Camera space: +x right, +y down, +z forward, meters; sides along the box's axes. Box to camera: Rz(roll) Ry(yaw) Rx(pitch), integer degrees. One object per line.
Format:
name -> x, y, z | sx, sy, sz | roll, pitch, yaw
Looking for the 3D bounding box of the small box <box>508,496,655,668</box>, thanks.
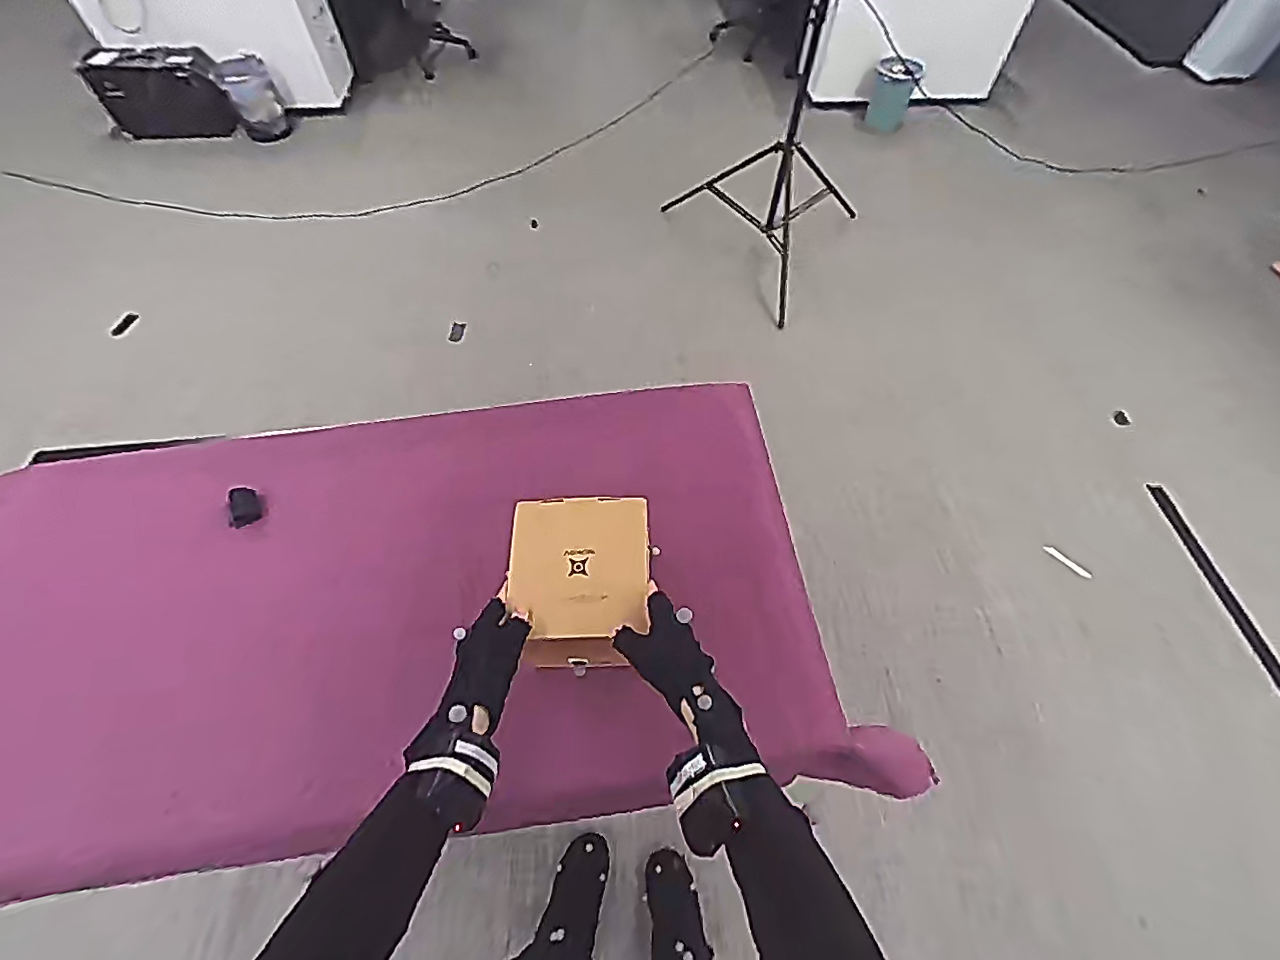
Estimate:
small box -> -0.065, 0.138, 0.709 | 0.168, 0.176, 0.179 | -3, 60, 2
